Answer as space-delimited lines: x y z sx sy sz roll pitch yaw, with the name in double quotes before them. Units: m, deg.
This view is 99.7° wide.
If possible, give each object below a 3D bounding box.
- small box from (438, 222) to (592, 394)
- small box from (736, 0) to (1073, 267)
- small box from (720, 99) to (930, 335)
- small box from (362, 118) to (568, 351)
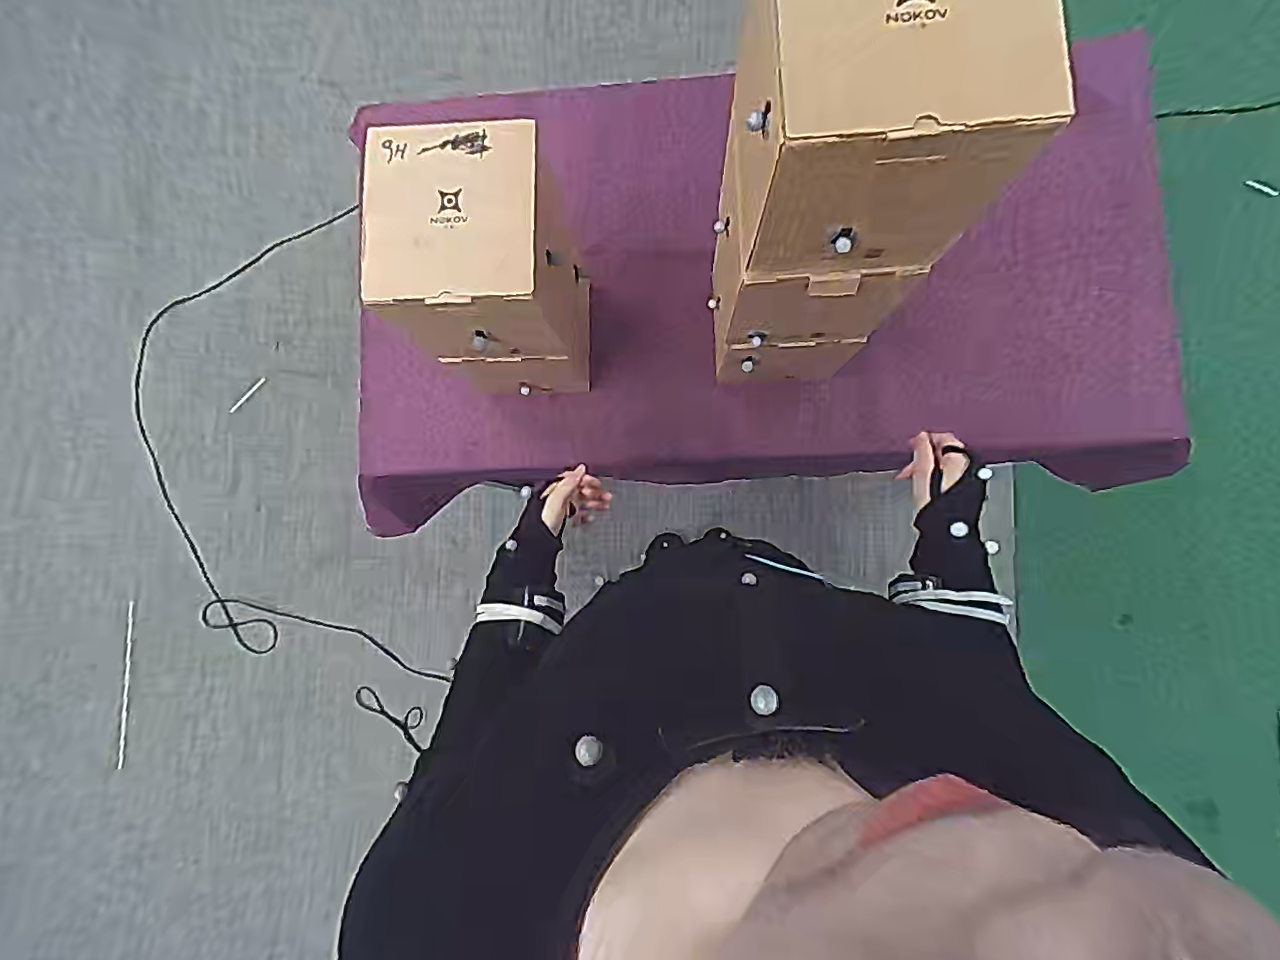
"small box" -0.161 -0.226 0.745 0.168 0.176 0.179 -1 85 4
"small box" 0.166 -0.283 0.399 0.168 0.176 0.179 -3 85 3
"small box" 0.174 -0.260 0.560 0.168 0.176 0.179 -3 84 3
"small box" -0.172 -0.244 0.581 0.168 0.176 0.179 -1 86 3
